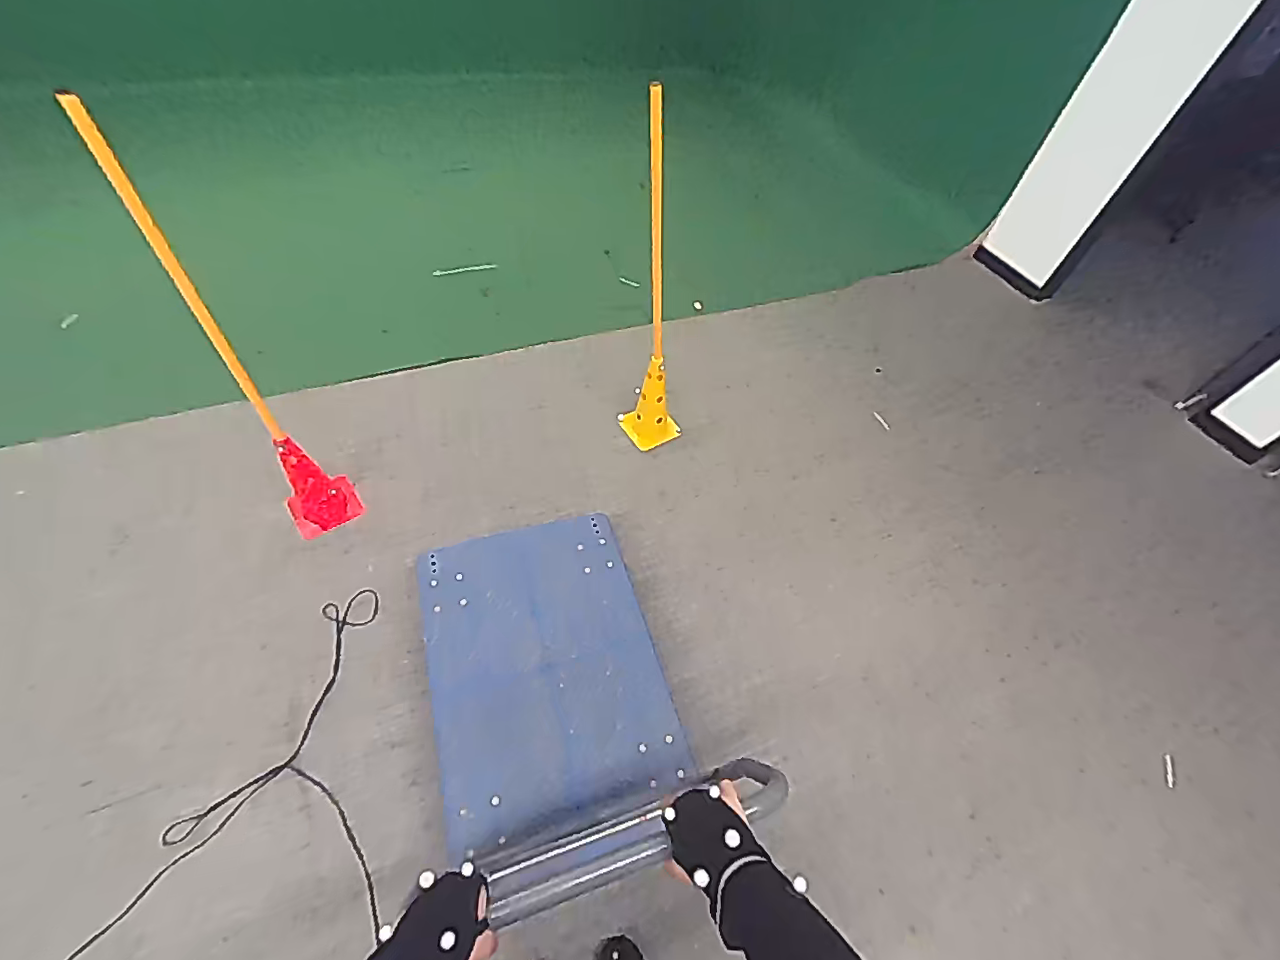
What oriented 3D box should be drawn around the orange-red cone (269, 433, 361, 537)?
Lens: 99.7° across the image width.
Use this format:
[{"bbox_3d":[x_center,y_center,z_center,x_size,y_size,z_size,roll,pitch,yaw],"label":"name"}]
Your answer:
[{"bbox_3d":[-1.047,-0.014,1.673,0.199,0.360,0.198,-29,61,-23],"label":"orange-red cone"}]
